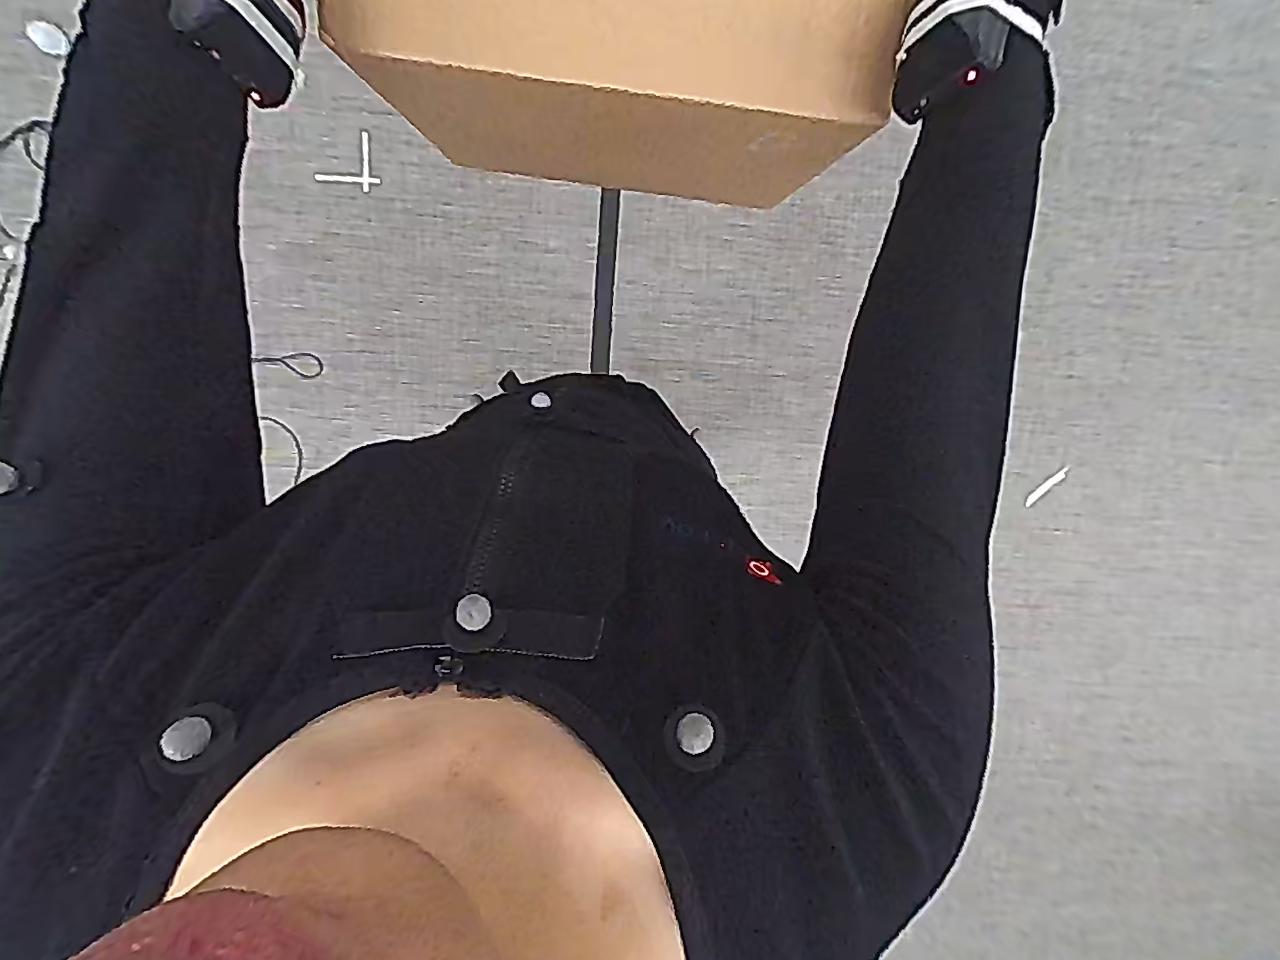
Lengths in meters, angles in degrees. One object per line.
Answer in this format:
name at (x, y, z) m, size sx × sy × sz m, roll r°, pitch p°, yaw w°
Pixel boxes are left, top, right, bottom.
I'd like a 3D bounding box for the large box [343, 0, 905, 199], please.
large box at (-0.007, -0.476, 0.496) m, size 0.408 × 0.320 × 0.320 m, roll 5°, pitch 107°, yaw -5°
